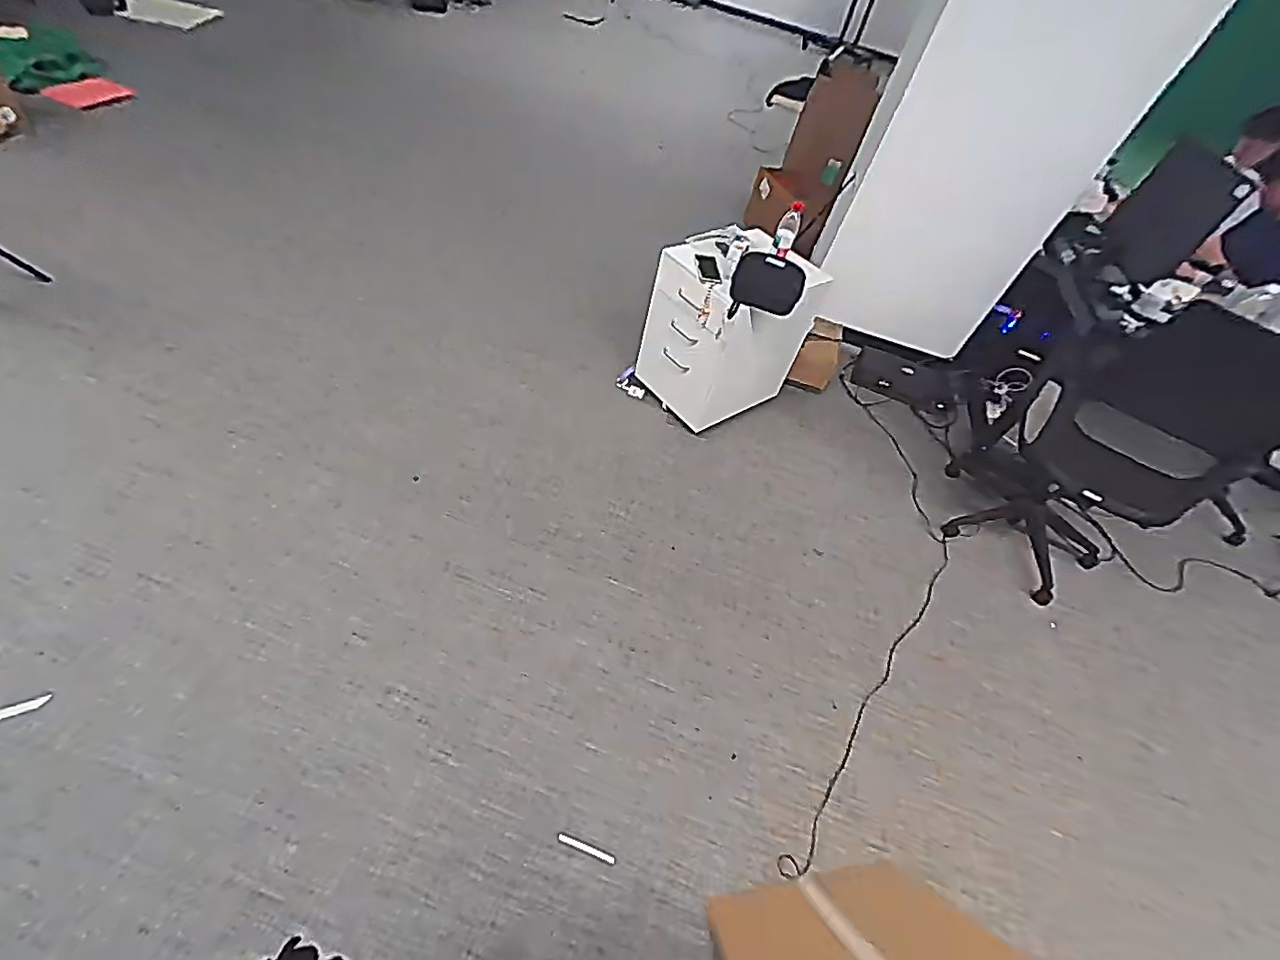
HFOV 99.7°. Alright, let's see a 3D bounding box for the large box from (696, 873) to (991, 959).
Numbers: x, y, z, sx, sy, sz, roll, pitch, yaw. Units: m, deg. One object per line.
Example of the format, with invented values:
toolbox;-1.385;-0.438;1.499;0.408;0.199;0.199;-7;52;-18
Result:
large box;0.278;0.731;0.612;0.320;0.408;0.320;-7;76;-9
